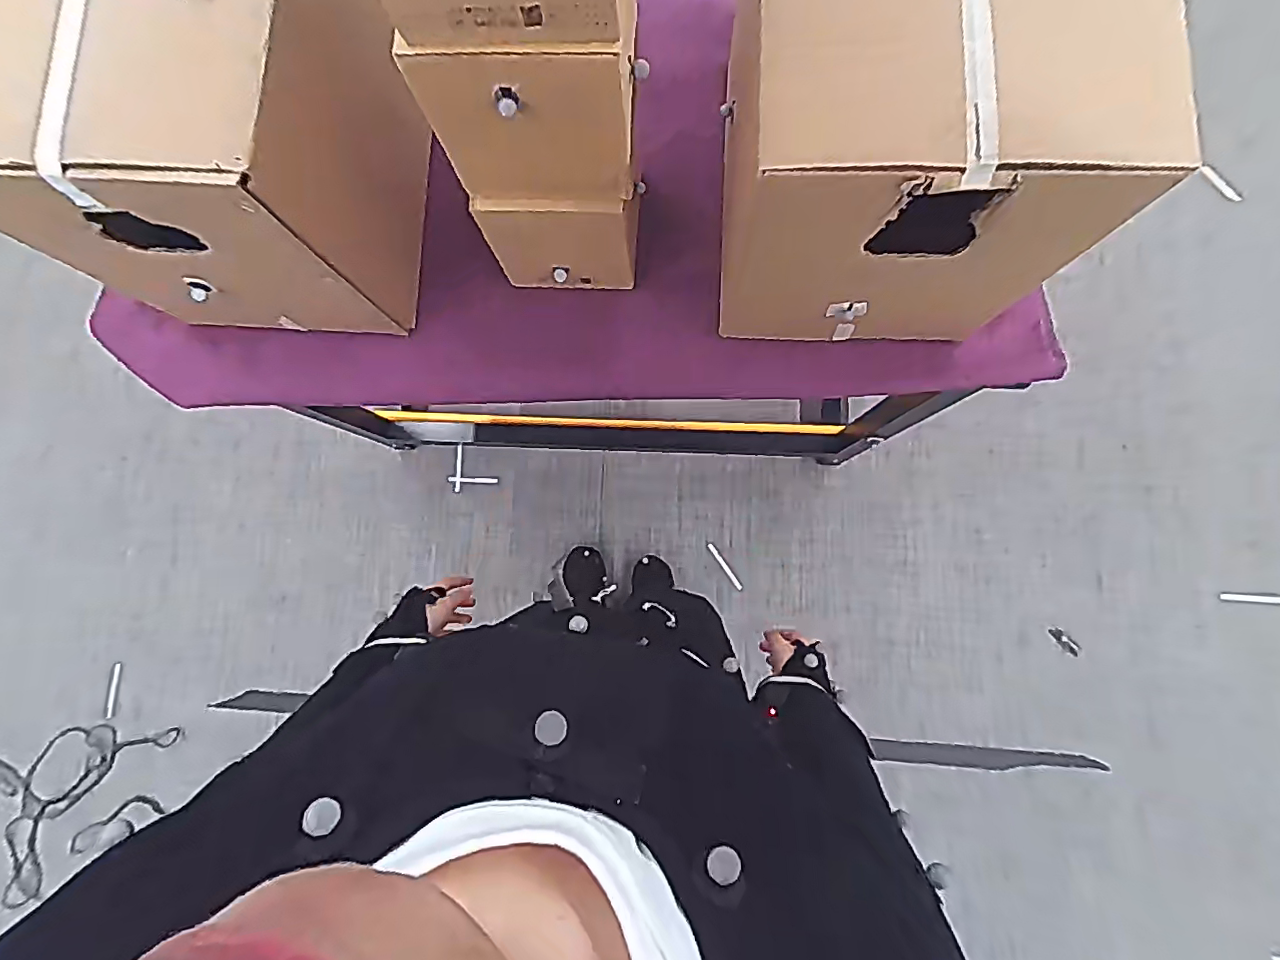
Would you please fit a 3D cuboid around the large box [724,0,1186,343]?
[{"bbox_3d":[0.254,-0.392,0.573,0.320,0.320,0.408,2,81,3],"label":"large box"}]
